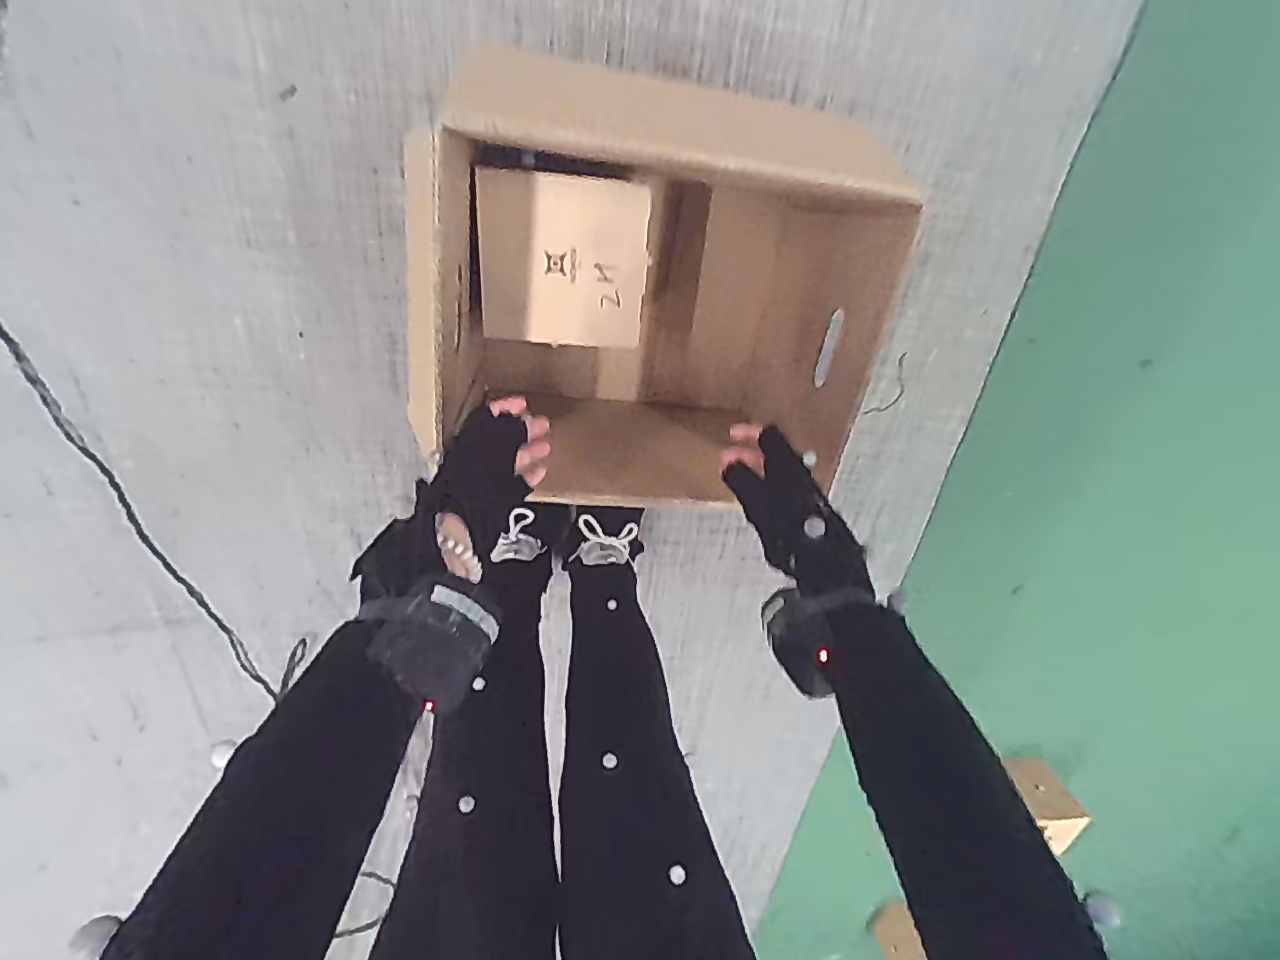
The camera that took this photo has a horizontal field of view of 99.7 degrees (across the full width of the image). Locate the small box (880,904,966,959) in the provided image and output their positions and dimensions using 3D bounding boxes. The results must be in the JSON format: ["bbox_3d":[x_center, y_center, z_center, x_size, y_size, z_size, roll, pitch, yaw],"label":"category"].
[{"bbox_3d":[0.906,1.508,1.741,0.168,0.176,0.179,3,117,-11],"label":"small box"}]
